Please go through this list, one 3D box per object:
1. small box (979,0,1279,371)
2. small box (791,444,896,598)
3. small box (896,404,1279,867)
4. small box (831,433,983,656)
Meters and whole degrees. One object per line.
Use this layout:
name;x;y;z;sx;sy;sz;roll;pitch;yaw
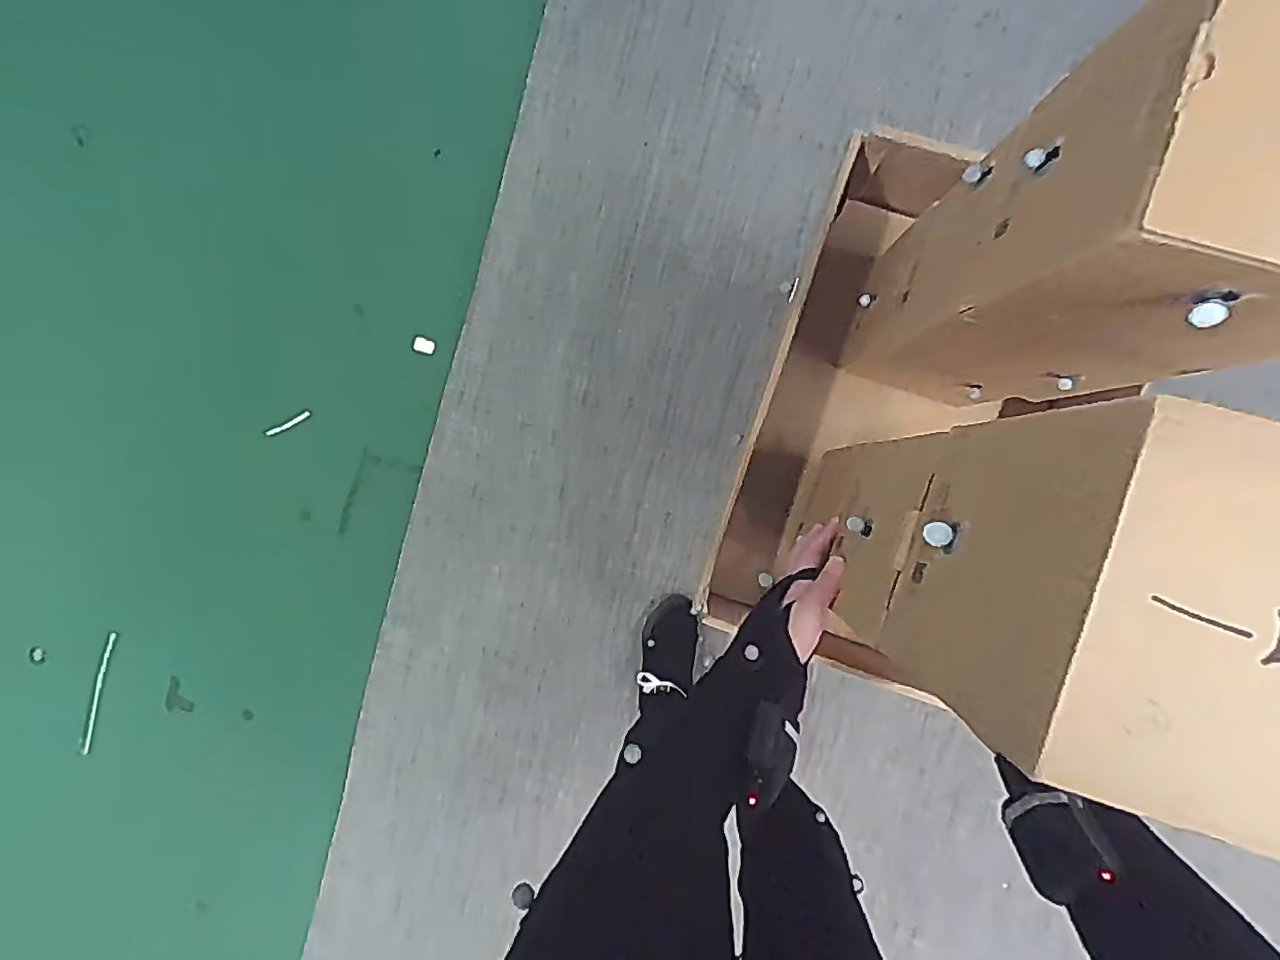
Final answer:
small box;0.362;-0.174;0.334;0.179;0.176;0.168;18;94;3
small box;0.292;0.070;0.615;0.179;0.176;0.168;21;92;3
small box;0.274;0.070;0.287;0.179;0.176;0.168;18;92;4
small box;0.283;0.070;0.452;0.179;0.176;0.168;19;93;4
